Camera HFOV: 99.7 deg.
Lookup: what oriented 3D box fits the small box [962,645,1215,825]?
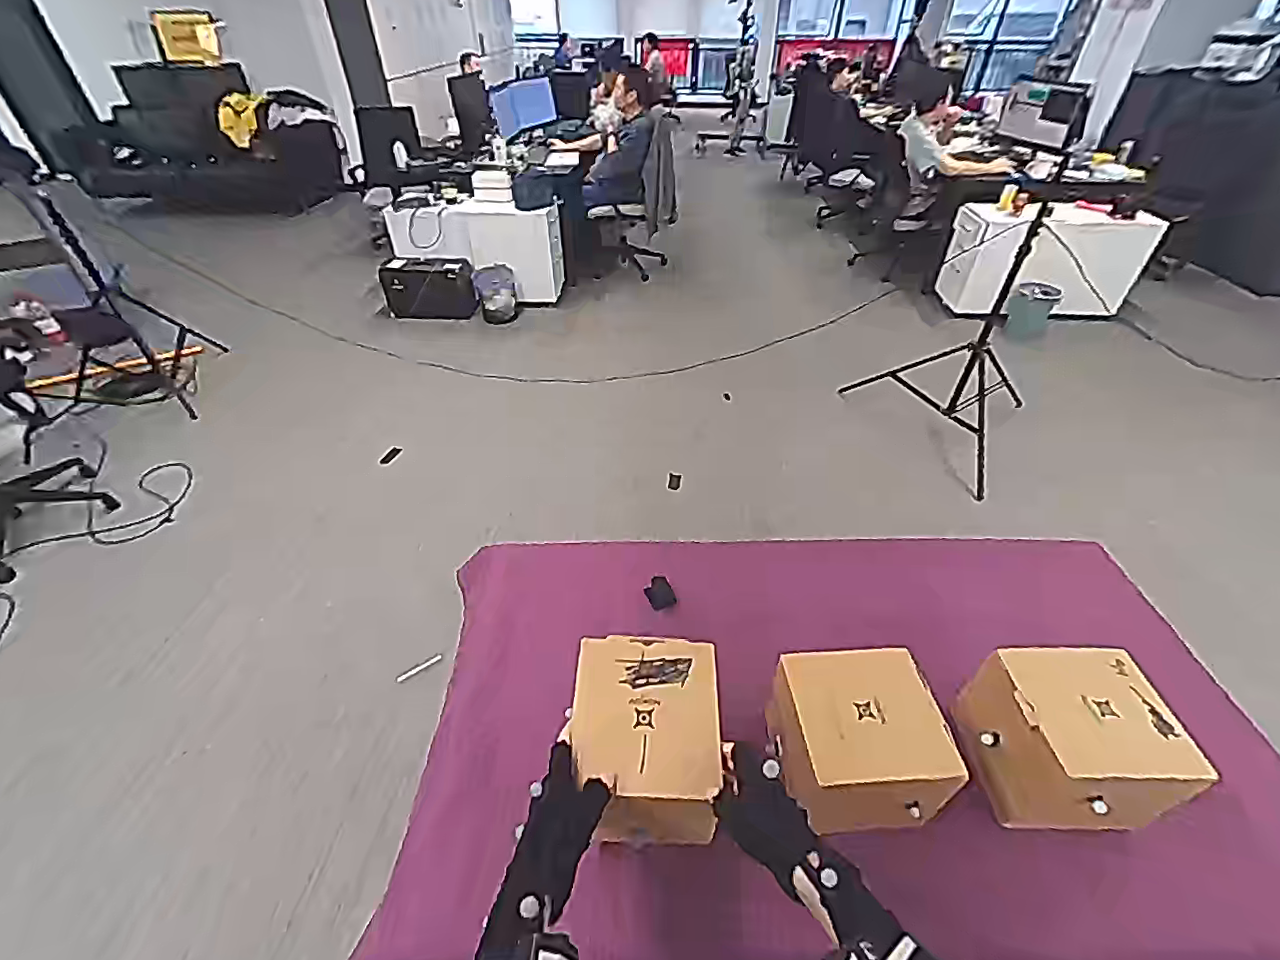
[{"bbox_3d":[0.559,0.338,0.715,0.179,0.176,0.168,-1,41,1],"label":"small box"}]

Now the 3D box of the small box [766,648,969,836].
[{"bbox_3d":[0.280,0.343,0.712,0.179,0.176,0.168,-4,39,-3],"label":"small box"}]

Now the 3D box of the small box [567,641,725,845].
[{"bbox_3d":[0.008,0.321,0.665,0.168,0.176,0.179,1,43,1],"label":"small box"}]
